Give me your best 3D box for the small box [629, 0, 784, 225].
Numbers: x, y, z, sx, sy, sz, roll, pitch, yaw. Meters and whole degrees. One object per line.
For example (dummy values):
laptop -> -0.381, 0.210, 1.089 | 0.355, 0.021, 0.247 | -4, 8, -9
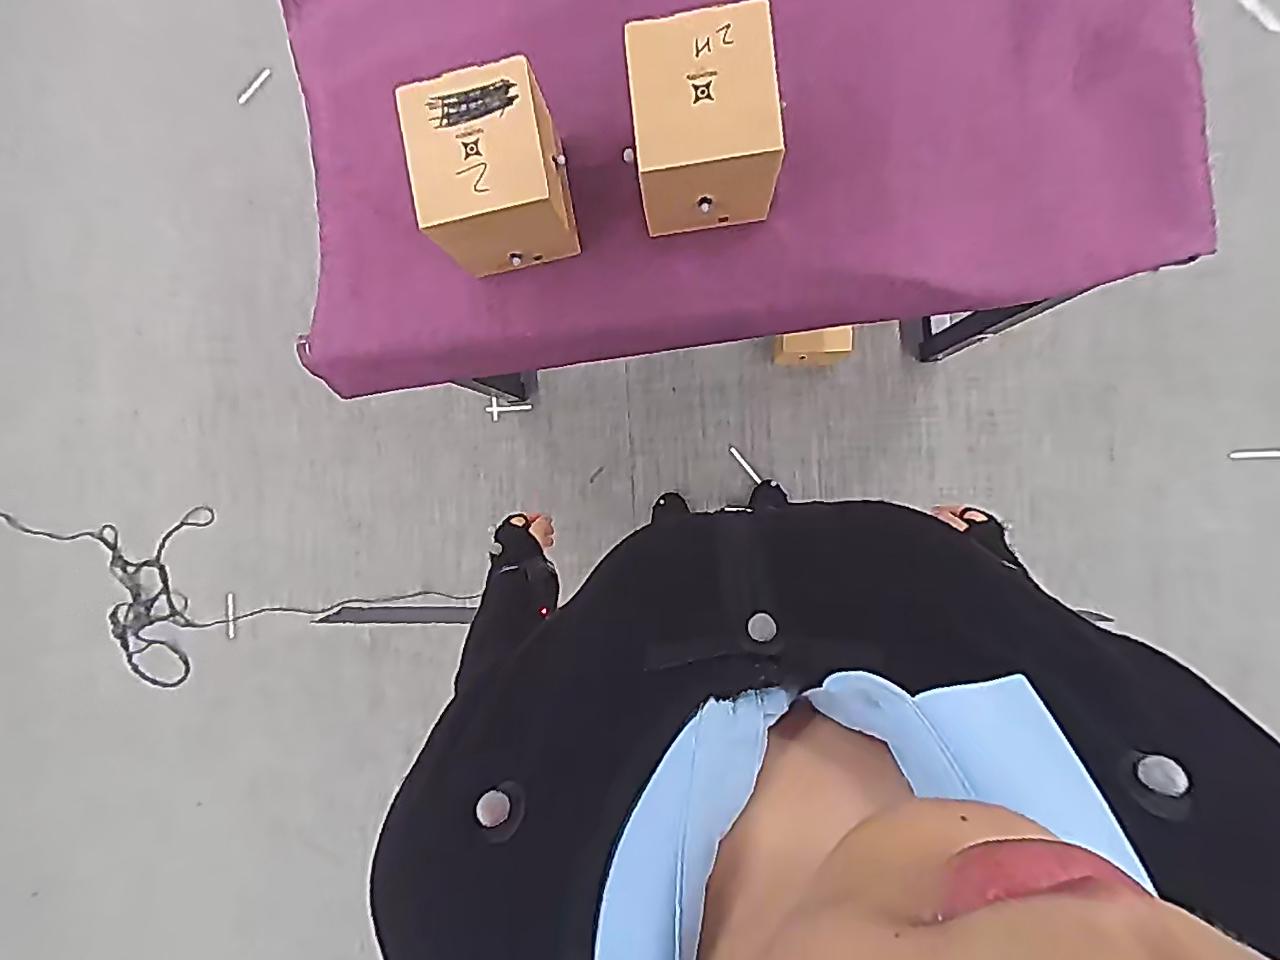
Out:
small box -> 0.082, -0.447, 0.689 | 0.168, 0.176, 0.179 | -5, 89, 5

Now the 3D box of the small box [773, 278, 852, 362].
small box -> 0.438, -0.402, 1.388 | 0.168, 0.176, 0.179 | 0, 90, 6
